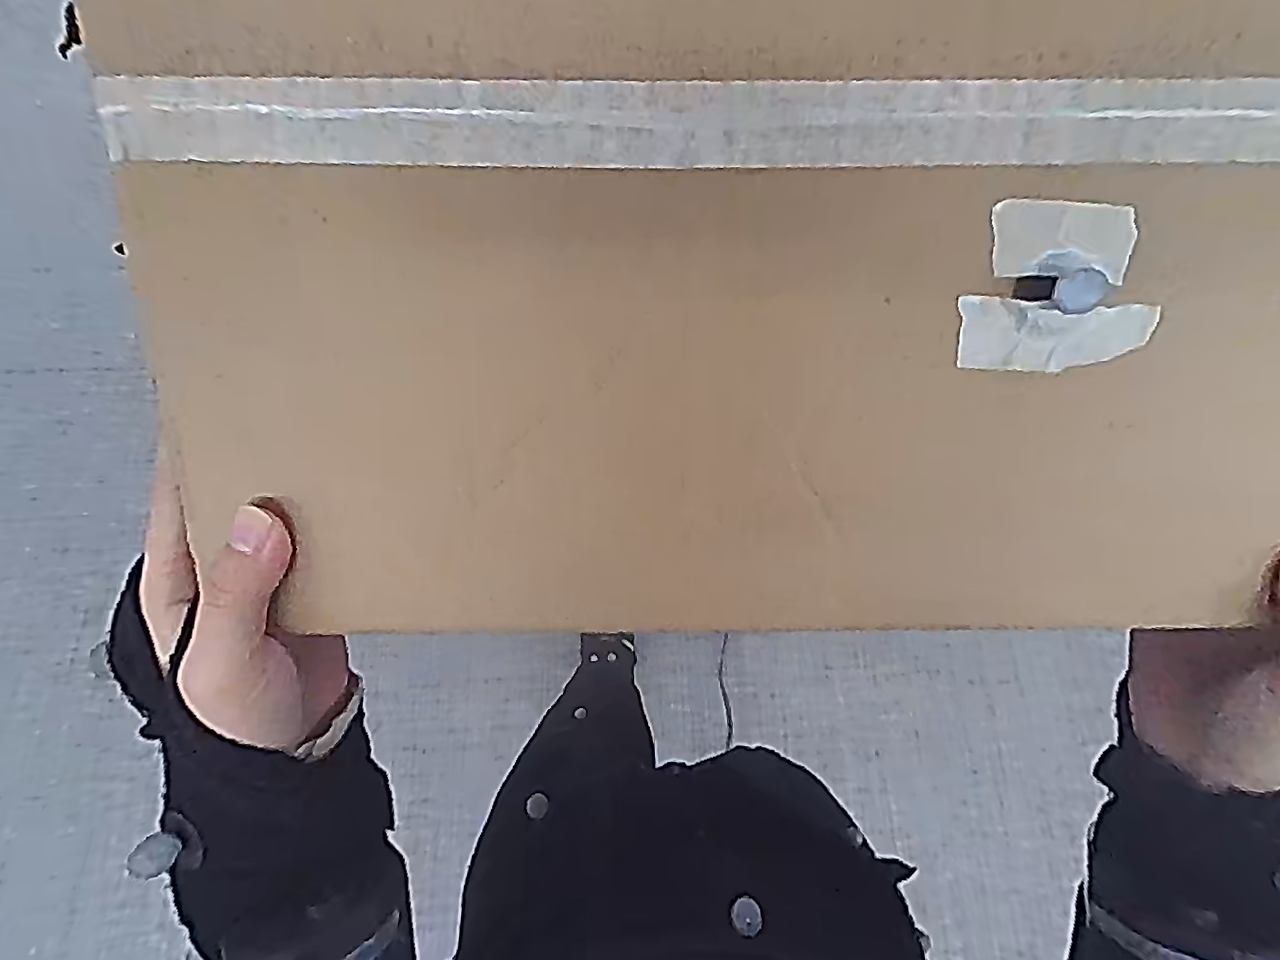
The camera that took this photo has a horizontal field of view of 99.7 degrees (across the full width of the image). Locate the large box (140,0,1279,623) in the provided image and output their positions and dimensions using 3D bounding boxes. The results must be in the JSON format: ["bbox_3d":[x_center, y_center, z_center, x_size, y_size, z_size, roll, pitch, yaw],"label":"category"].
[{"bbox_3d":[0.048,-0.134,0.314,0.408,0.320,0.320,-1,103,-2],"label":"large box"}]
